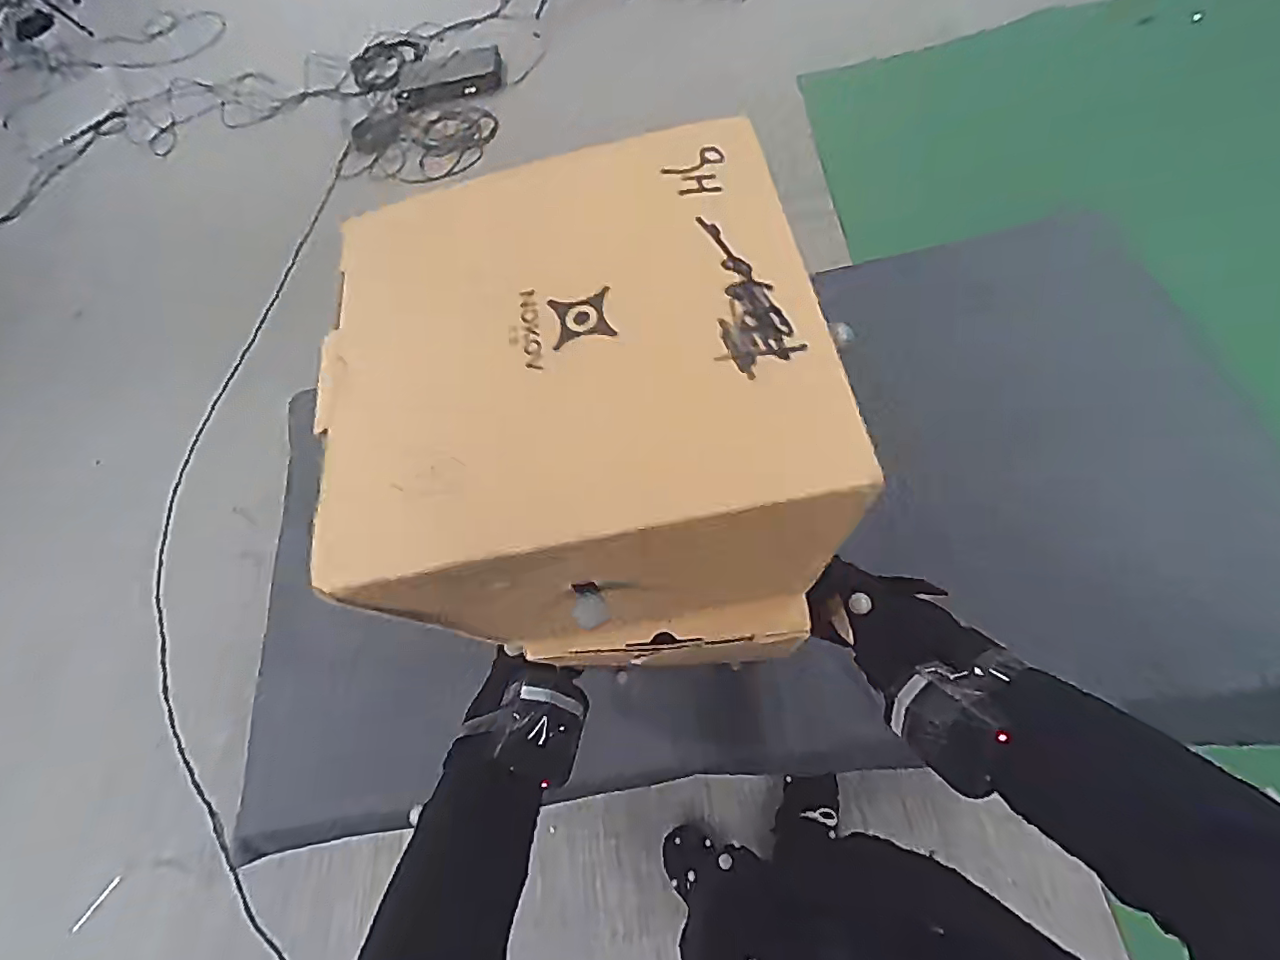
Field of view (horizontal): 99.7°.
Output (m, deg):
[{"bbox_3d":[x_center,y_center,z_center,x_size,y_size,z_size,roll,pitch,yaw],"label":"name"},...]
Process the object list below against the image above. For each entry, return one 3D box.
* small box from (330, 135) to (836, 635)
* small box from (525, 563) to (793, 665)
[{"bbox_3d":[-0.021,-0.028,0.281,0.179,0.176,0.168,-14,64,3],"label":"small box"},{"bbox_3d":[0.015,0.045,0.421,0.168,0.176,0.179,-10,67,6],"label":"small box"}]
